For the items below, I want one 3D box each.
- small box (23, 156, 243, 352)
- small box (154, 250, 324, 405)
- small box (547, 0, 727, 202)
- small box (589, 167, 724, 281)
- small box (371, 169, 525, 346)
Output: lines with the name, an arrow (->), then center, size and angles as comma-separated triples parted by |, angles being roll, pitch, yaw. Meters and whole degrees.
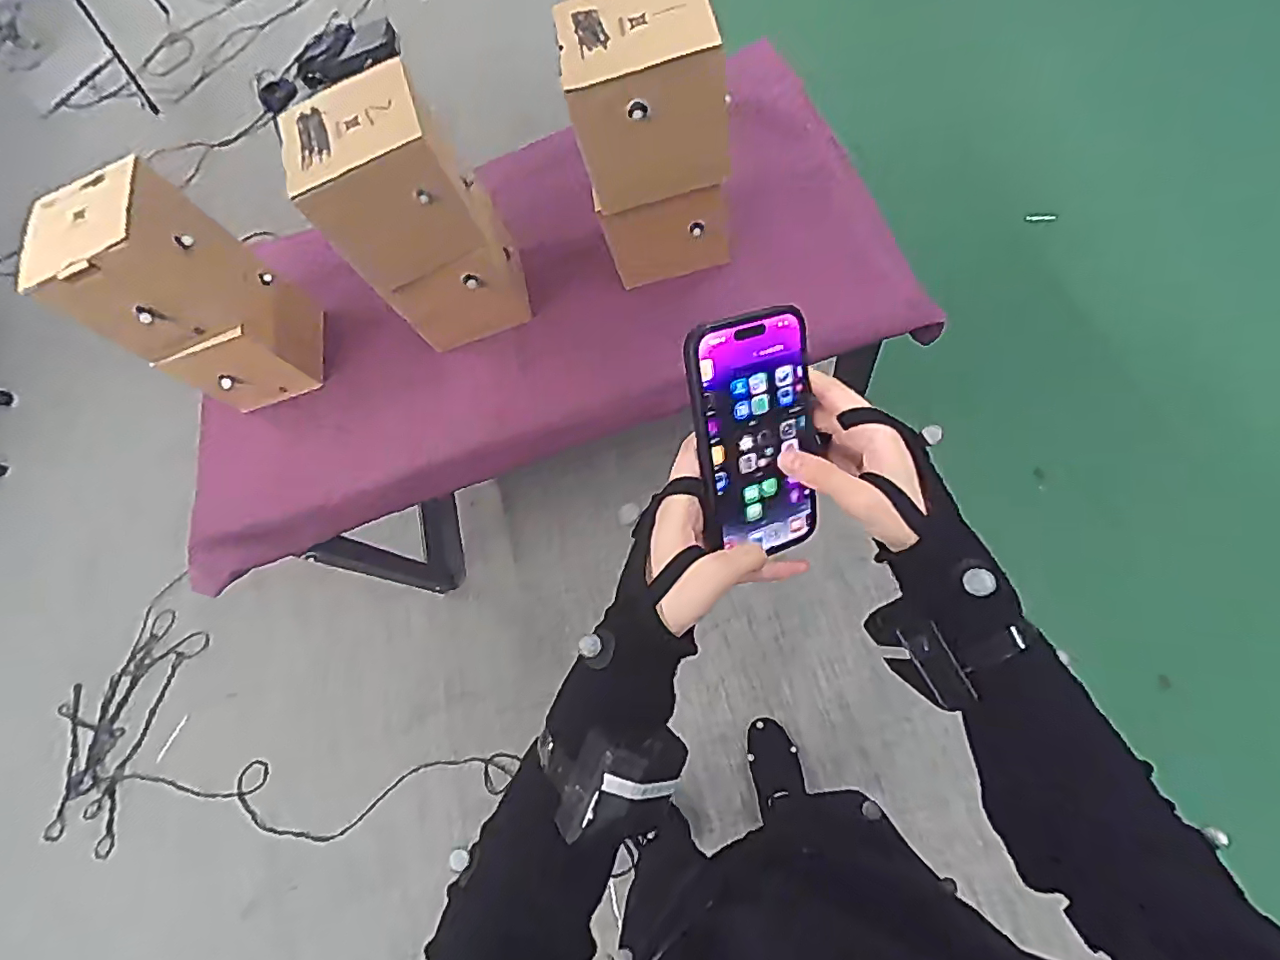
small box -> -0.711, -0.309, 0.779 | 0.168, 0.176, 0.179 | -22, 67, 5
small box -> -0.672, -0.247, 0.926 | 0.168, 0.176, 0.179 | -17, 67, 7
small box -> 0.002, -0.481, 0.667 | 0.179, 0.176, 0.168 | -12, 68, 9
small box -> 0.028, -0.437, 0.823 | 0.179, 0.176, 0.168 | -12, 68, 10
small box -> -0.298, -0.347, 0.869 | 0.179, 0.176, 0.168 | -18, 67, 7
